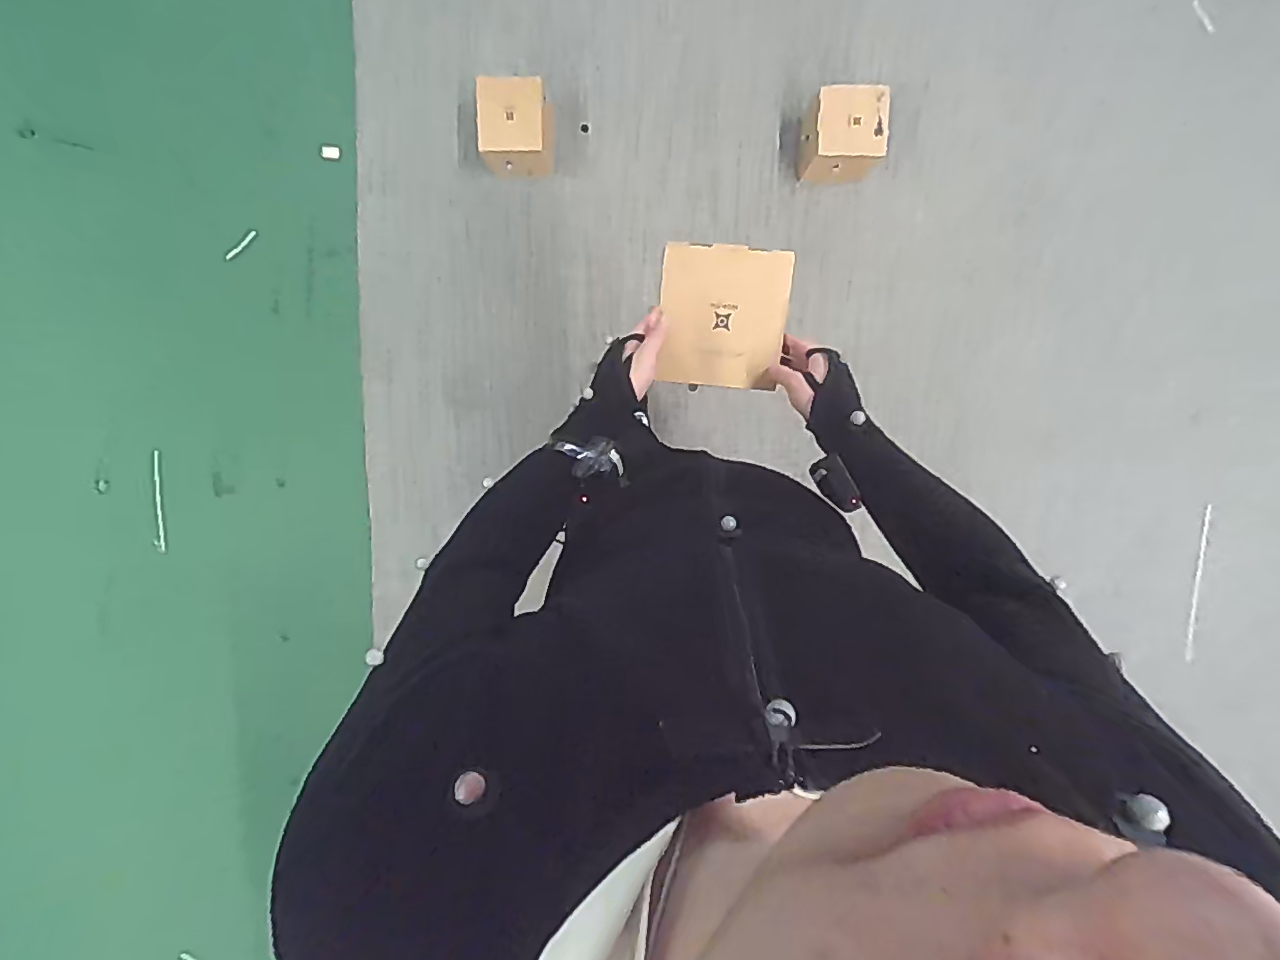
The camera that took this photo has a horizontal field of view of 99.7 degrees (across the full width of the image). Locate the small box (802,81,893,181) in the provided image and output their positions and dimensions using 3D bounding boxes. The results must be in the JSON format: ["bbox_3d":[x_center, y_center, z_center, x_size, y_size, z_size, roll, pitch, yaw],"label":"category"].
[{"bbox_3d":[0.527,-0.896,1.401,0.179,0.176,0.168,1,97,1],"label":"small box"}]

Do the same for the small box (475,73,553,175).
[{"bbox_3d":[-0.323,-0.920,1.413,0.168,0.176,0.179,0,96,1],"label":"small box"}]

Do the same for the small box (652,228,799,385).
[{"bbox_3d":[0.106,-0.232,0.752,0.168,0.176,0.179,6,103,0],"label":"small box"}]

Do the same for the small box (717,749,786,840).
[{"bbox_3d":[0.330,0.937,1.631,0.168,0.176,0.179,-8,97,2],"label":"small box"}]
